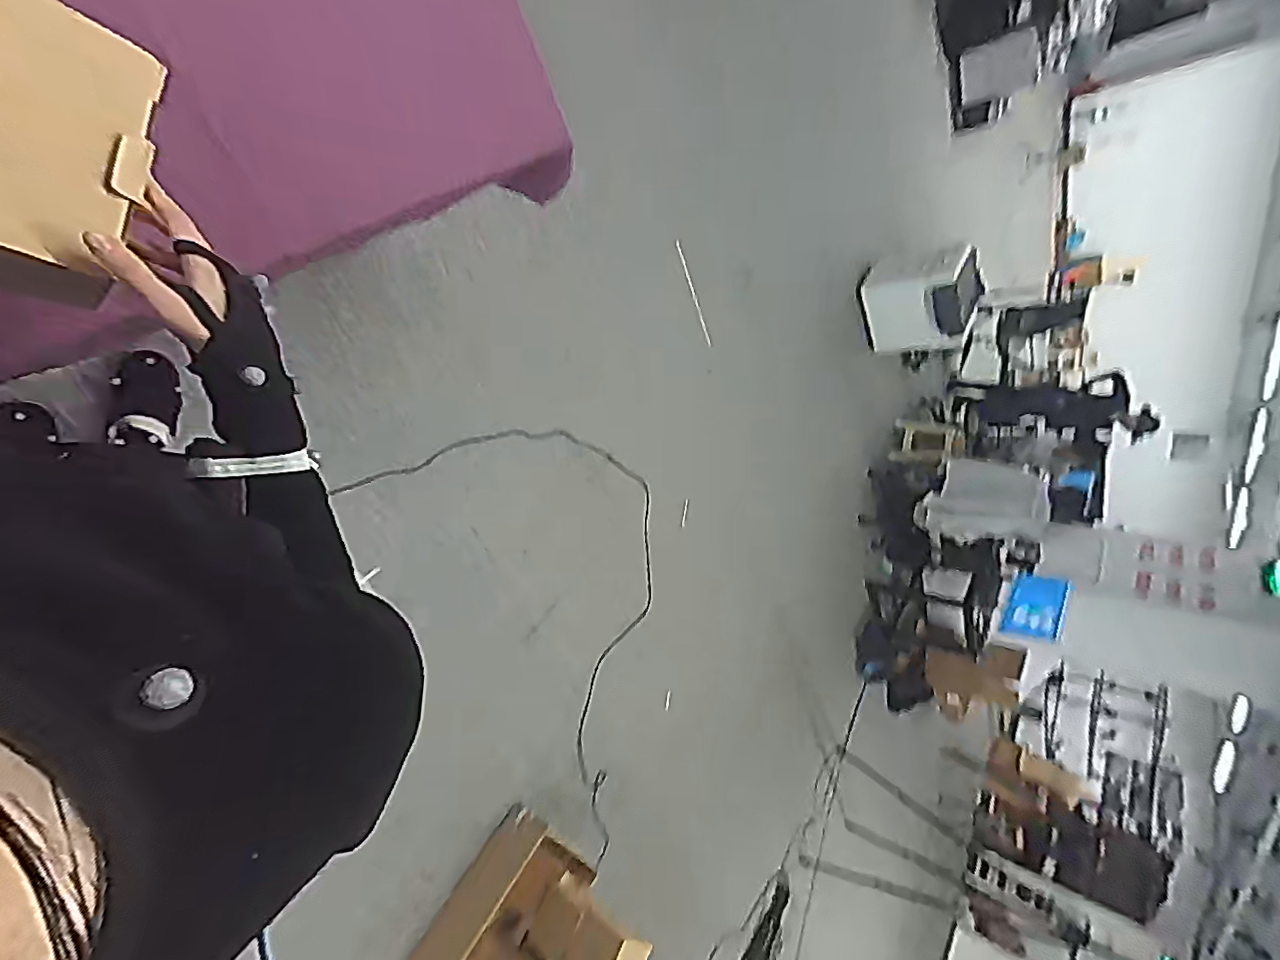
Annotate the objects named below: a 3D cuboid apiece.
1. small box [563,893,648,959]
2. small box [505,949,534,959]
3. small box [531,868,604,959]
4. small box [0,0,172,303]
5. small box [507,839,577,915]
[{"bbox_3d":[-0.114,1.438,1.678,0.168,0.176,0.179,51,61,-36],"label":"small box"},{"bbox_3d":[-0.361,1.617,1.678,0.168,0.176,0.179,-49,127,-31],"label":"small box"},{"bbox_3d":[-0.234,1.433,1.790,0.168,0.176,0.179,42,66,-39],"label":"small box"},{"bbox_3d":[-0.471,-0.237,0.376,0.179,0.176,0.168,16,84,-48],"label":"small box"},{"bbox_3d":[-0.337,1.423,1.917,0.179,0.176,0.168,-48,126,-28],"label":"small box"}]
